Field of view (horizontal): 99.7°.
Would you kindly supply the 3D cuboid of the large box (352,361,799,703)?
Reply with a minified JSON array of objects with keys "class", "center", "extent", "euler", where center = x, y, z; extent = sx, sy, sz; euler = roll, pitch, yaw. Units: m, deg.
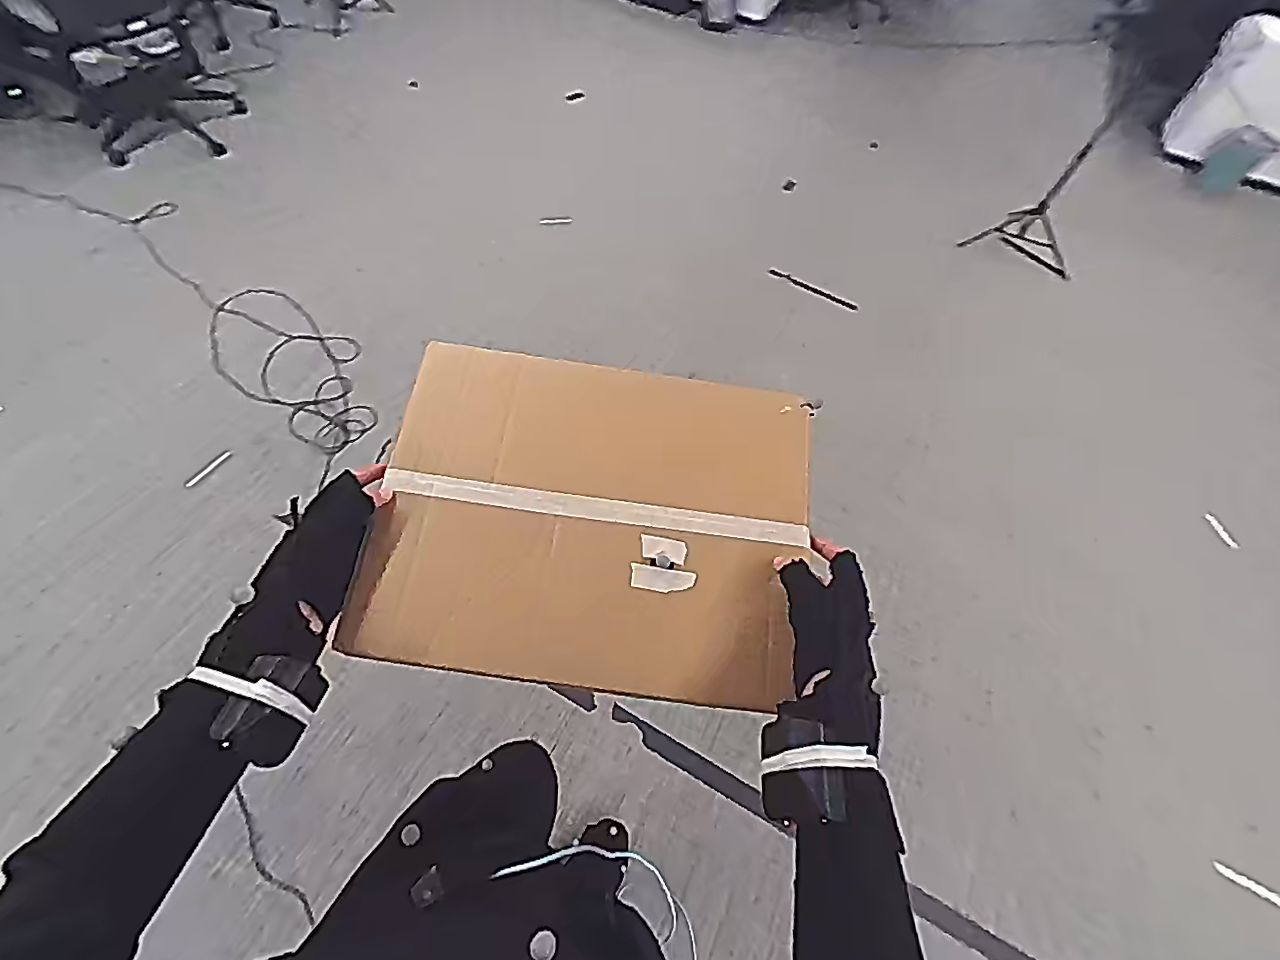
[{"class":"large box","center":[-0.054,0.089,0.667],"extent":[0.408,0.320,0.320],"euler":[8,69,-2]}]
